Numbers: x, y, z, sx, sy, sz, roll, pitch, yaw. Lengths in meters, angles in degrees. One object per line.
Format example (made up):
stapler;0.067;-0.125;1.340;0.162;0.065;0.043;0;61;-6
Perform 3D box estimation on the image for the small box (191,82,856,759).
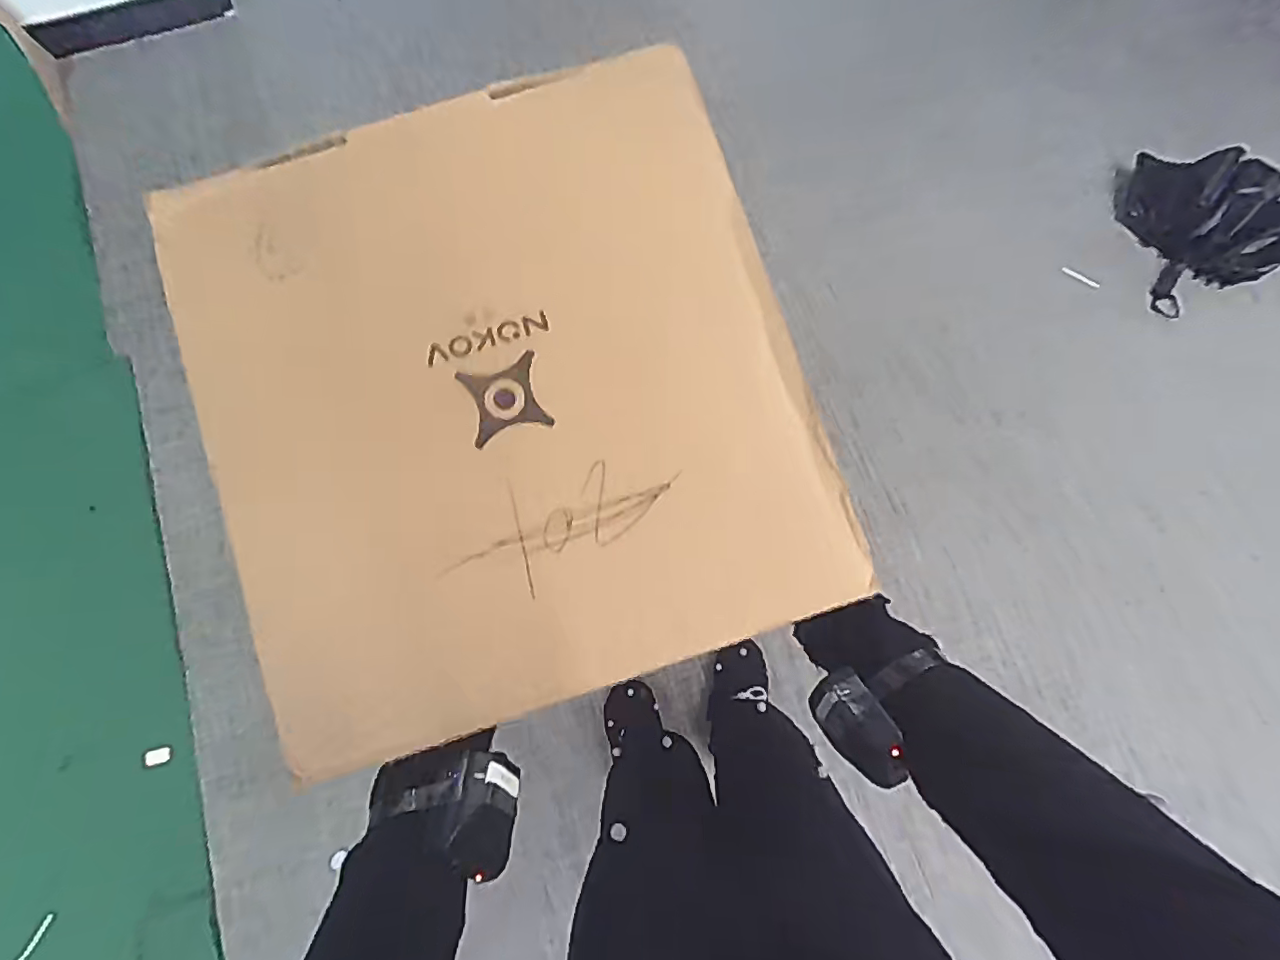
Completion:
small box;-0.039;-0.017;0.245;0.168;0.176;0.179;-19;85;-1
